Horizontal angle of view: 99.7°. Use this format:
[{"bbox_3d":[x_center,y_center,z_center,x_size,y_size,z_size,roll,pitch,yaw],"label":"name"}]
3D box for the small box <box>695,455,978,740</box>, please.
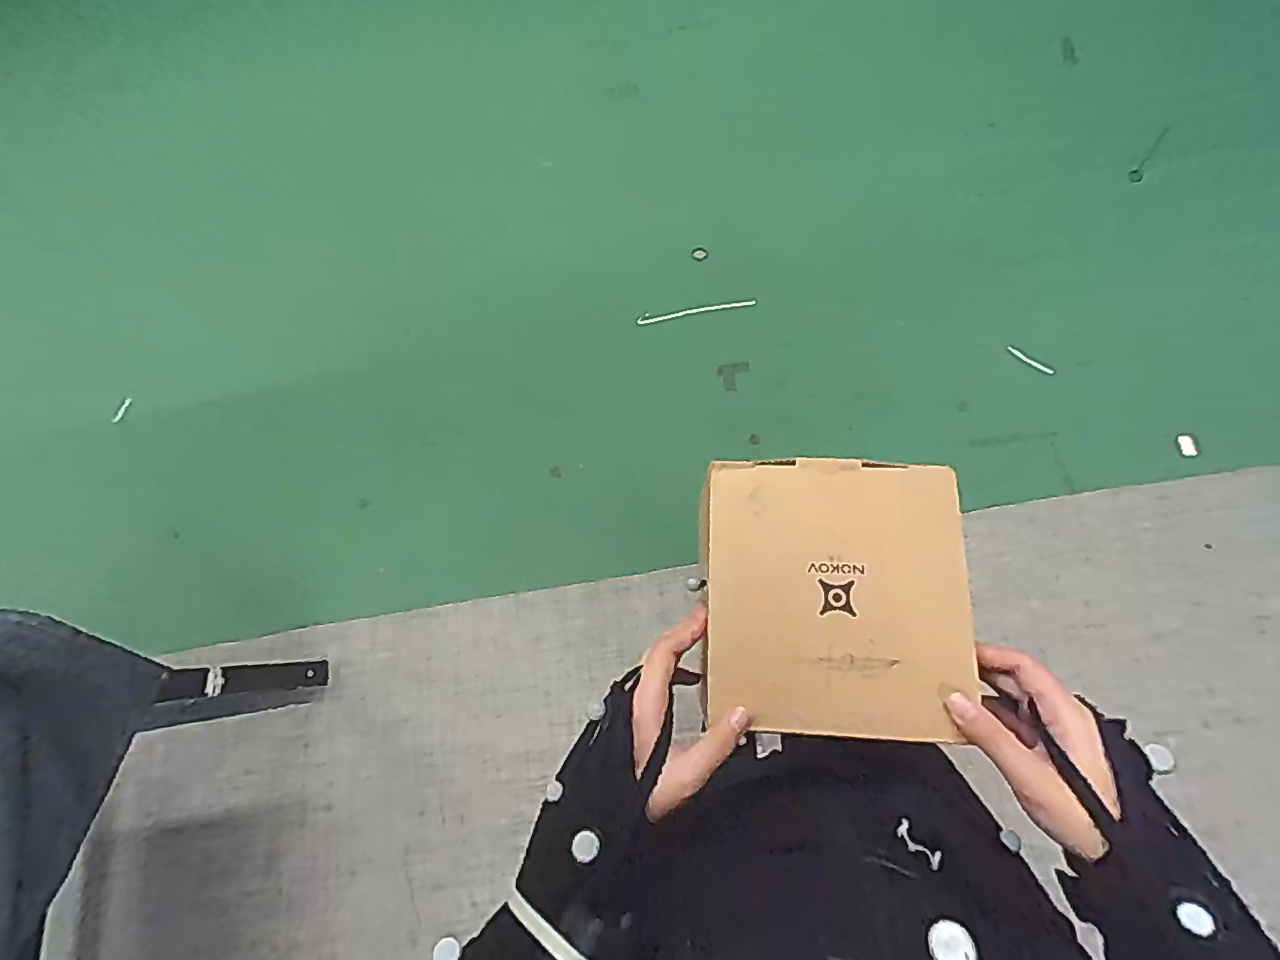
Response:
[{"bbox_3d":[0.130,0.090,0.427,0.168,0.176,0.179,2,75,4],"label":"small box"}]
